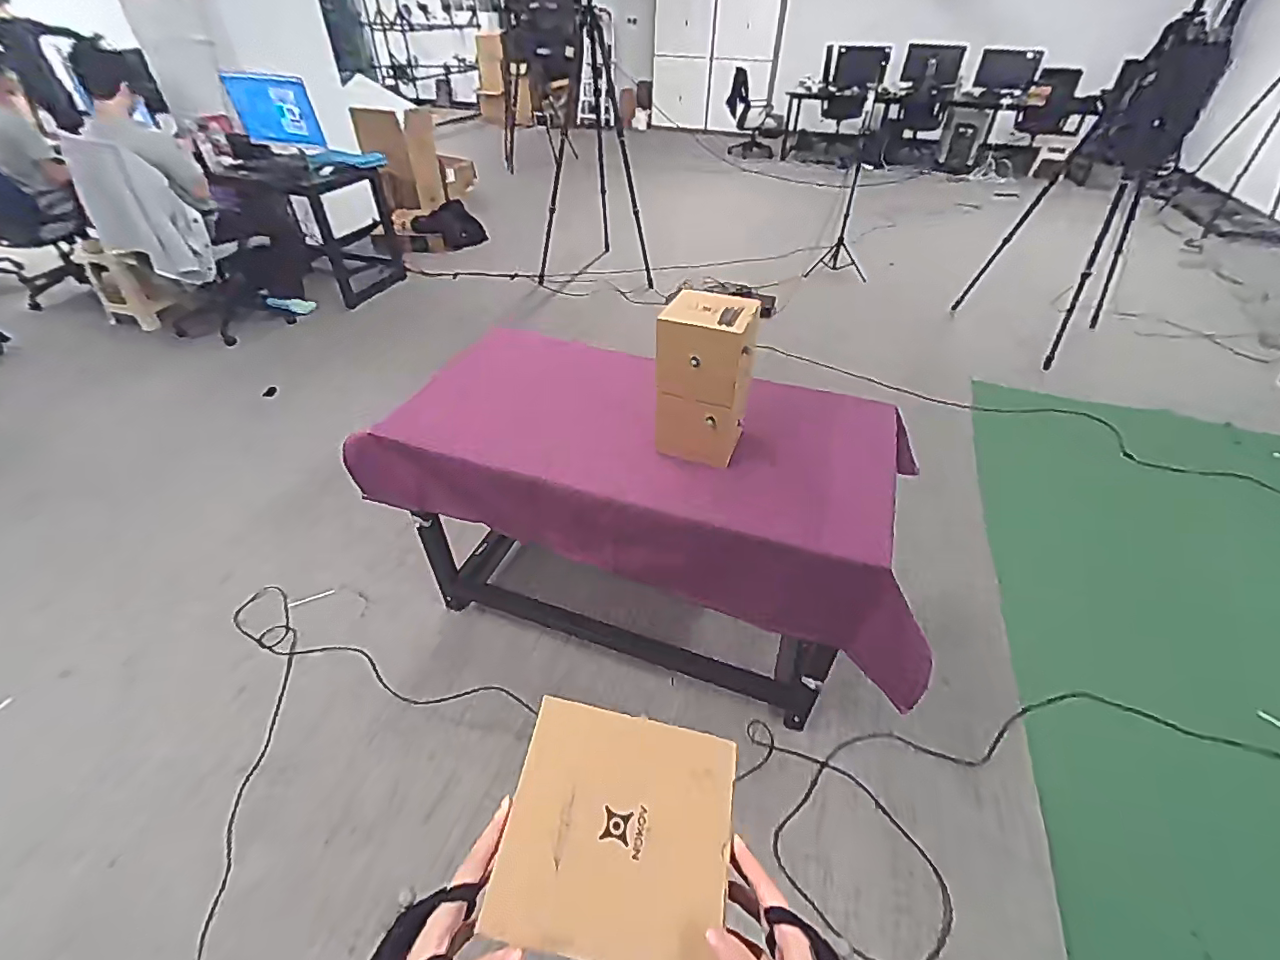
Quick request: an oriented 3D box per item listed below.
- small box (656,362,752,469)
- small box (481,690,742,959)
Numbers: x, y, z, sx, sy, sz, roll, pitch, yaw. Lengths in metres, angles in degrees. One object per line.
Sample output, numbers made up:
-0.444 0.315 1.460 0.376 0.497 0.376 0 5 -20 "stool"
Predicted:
0.145 -0.146 1.250 0.179 0.176 0.168 15 43 16 "small box"
-0.020 0.315 0.485 0.179 0.176 0.168 13 50 3 "small box"
